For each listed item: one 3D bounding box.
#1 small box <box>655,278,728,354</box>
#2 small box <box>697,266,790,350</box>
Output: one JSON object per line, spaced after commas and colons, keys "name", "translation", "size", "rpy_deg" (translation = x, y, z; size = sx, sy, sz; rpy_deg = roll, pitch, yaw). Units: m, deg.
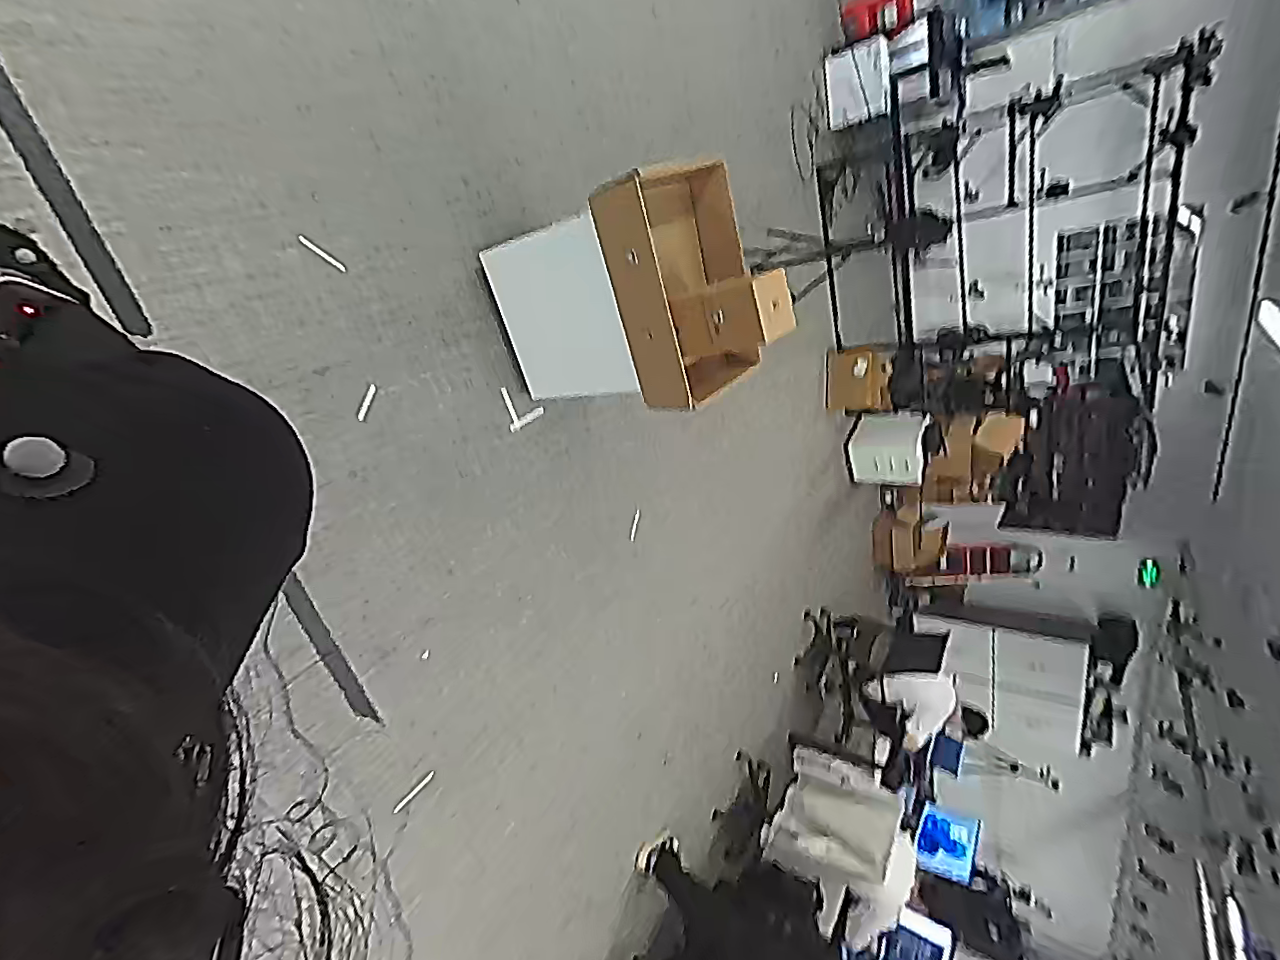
{"name": "small box", "translation": [0.169, -0.480, 1.603], "size": [0.168, 0.176, 0.179], "rpy_deg": [-37, 119, -39]}
{"name": "small box", "translation": [0.283, -0.470, 1.485], "size": [0.179, 0.176, 0.168], "rpy_deg": [-36, 116, -38]}
